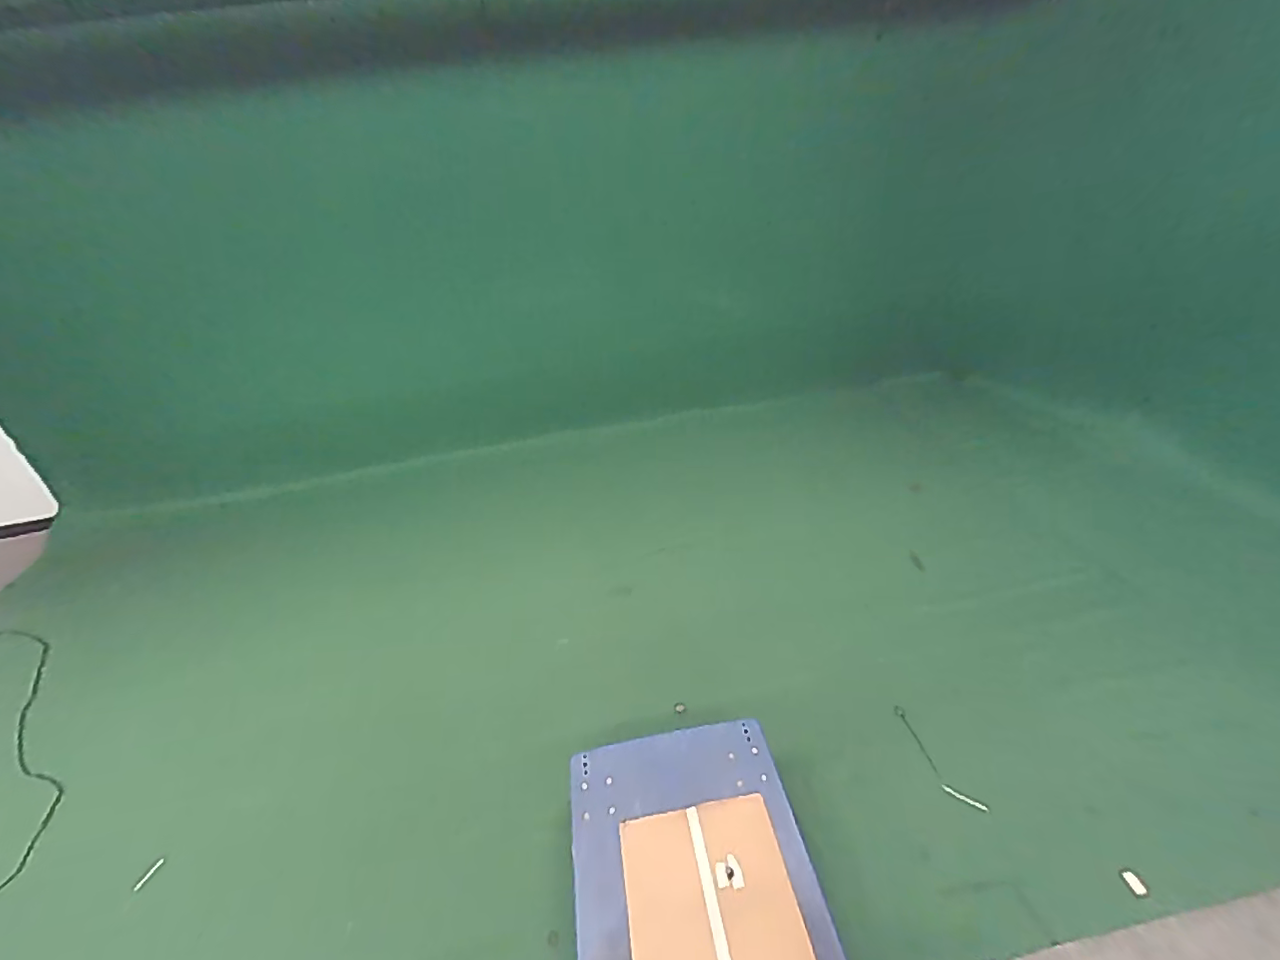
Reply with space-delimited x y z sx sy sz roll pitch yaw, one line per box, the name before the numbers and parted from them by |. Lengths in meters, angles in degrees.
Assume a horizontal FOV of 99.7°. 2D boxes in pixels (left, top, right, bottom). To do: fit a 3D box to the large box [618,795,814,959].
large box | 0.153 0.932 1.066 0.320 0.320 0.408 -10 31 -4
